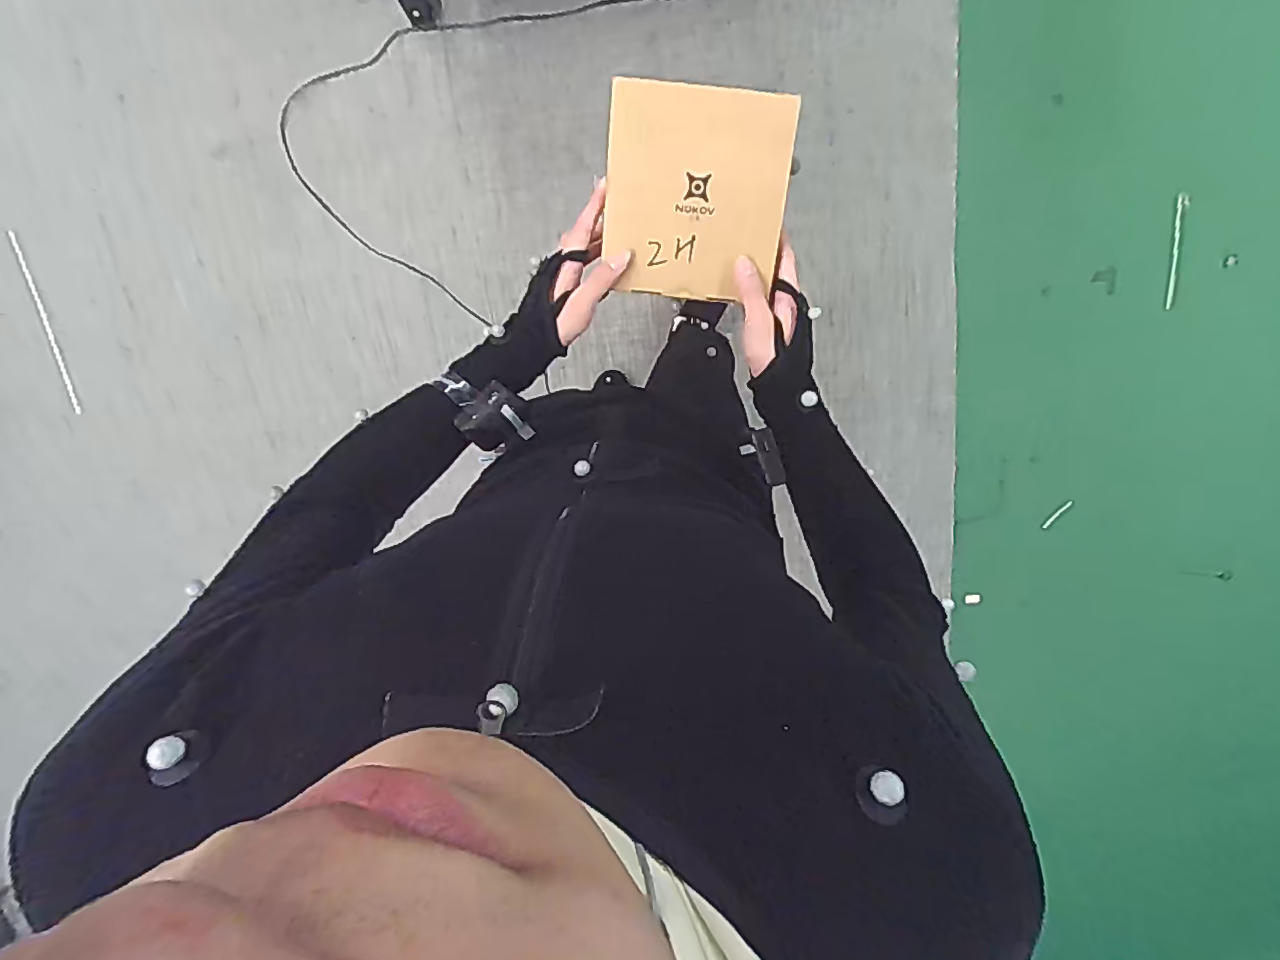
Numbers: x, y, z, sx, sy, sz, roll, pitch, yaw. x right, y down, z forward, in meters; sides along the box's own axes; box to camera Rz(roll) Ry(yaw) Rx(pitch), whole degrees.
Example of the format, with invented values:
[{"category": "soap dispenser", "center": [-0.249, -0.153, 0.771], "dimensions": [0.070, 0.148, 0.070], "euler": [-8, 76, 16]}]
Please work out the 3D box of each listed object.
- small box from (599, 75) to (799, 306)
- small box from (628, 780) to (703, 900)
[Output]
[{"category": "small box", "center": [0.050, -0.283, 0.568], "dimensions": [0.168, 0.176, 0.179], "euler": [6, 109, -1]}, {"category": "small box", "center": [0.059, 0.871, 1.319], "dimensions": [0.168, 0.176, 0.179], "euler": [-5, 102, -1]}]
